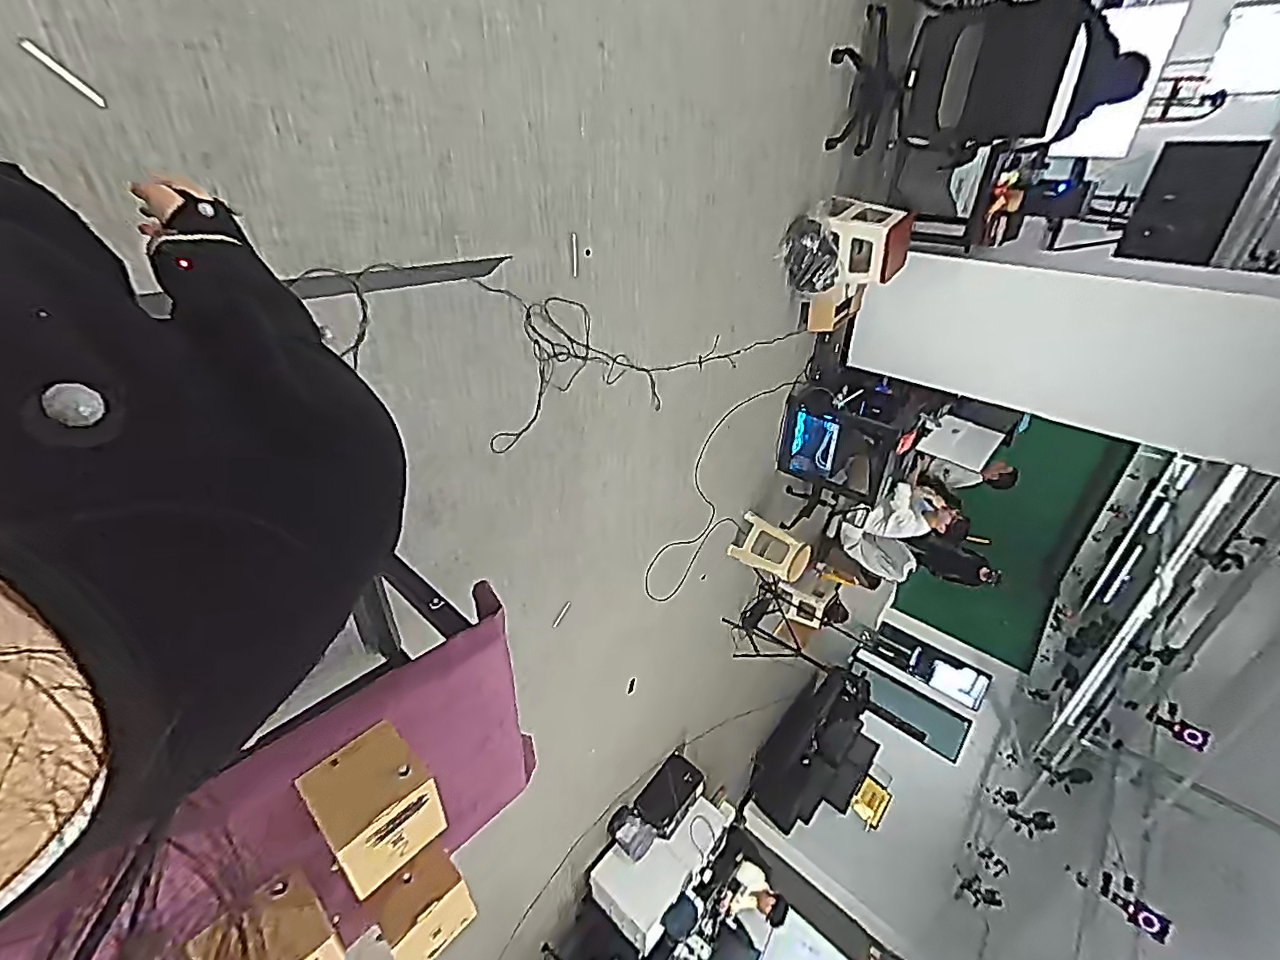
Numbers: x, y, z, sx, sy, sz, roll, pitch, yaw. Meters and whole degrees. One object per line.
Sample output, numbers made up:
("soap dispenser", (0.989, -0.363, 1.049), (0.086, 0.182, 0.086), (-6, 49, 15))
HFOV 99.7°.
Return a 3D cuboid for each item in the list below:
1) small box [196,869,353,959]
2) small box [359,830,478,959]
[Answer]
("small box", (-0.629, 0.833, 0.941), (0.168, 0.176, 0.179), (-29, 133, -40))
("small box", (-0.484, 0.915, 1.182), (0.168, 0.176, 0.179), (-29, 130, -39))
